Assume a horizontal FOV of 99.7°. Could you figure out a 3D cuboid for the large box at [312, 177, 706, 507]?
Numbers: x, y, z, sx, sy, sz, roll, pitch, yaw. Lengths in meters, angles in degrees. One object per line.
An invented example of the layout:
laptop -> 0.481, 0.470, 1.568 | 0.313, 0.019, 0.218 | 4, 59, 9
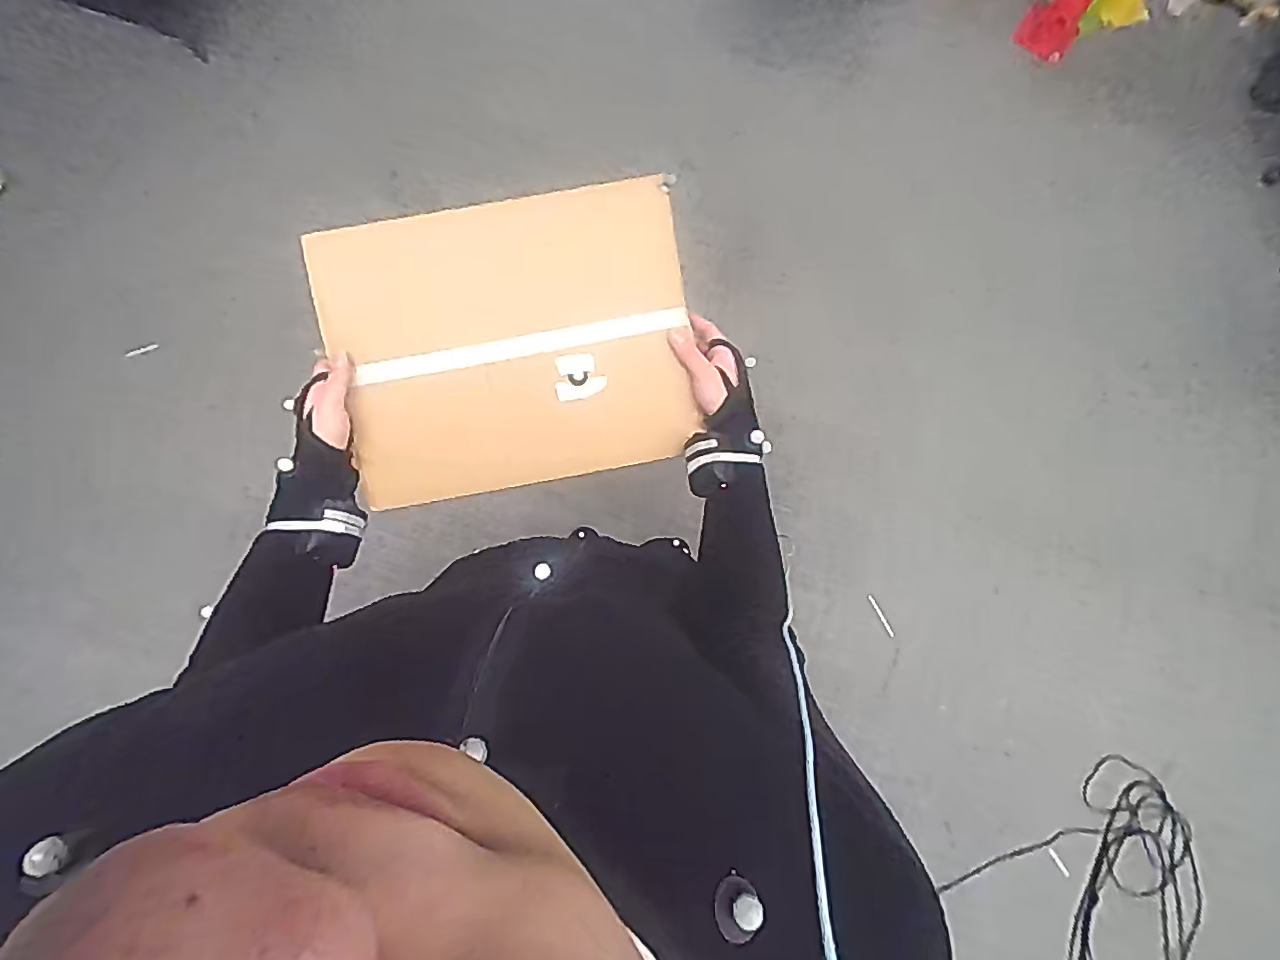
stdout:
large box -> -0.154, -0.171, 0.770 | 0.408, 0.320, 0.320 | -11, 97, -3
